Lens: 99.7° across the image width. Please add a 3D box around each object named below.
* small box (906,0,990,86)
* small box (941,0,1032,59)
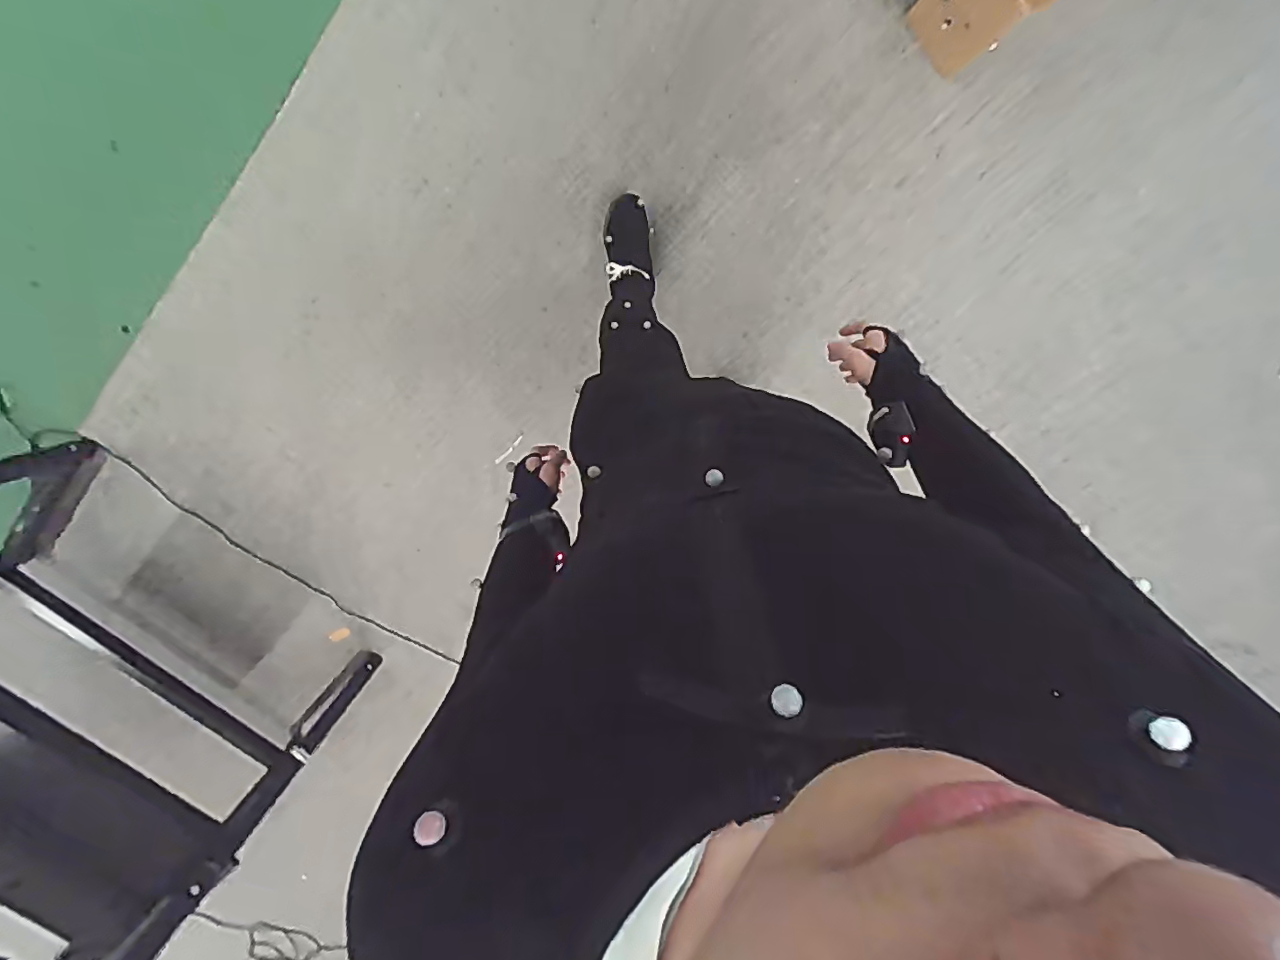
[{"bbox_3d":[0.716,-1.010,1.169,0.168,0.176,0.179,-42,101,16],"label":"small box"},{"bbox_3d":[0.705,-0.954,1.016,0.179,0.176,0.168,-41,102,14],"label":"small box"}]
